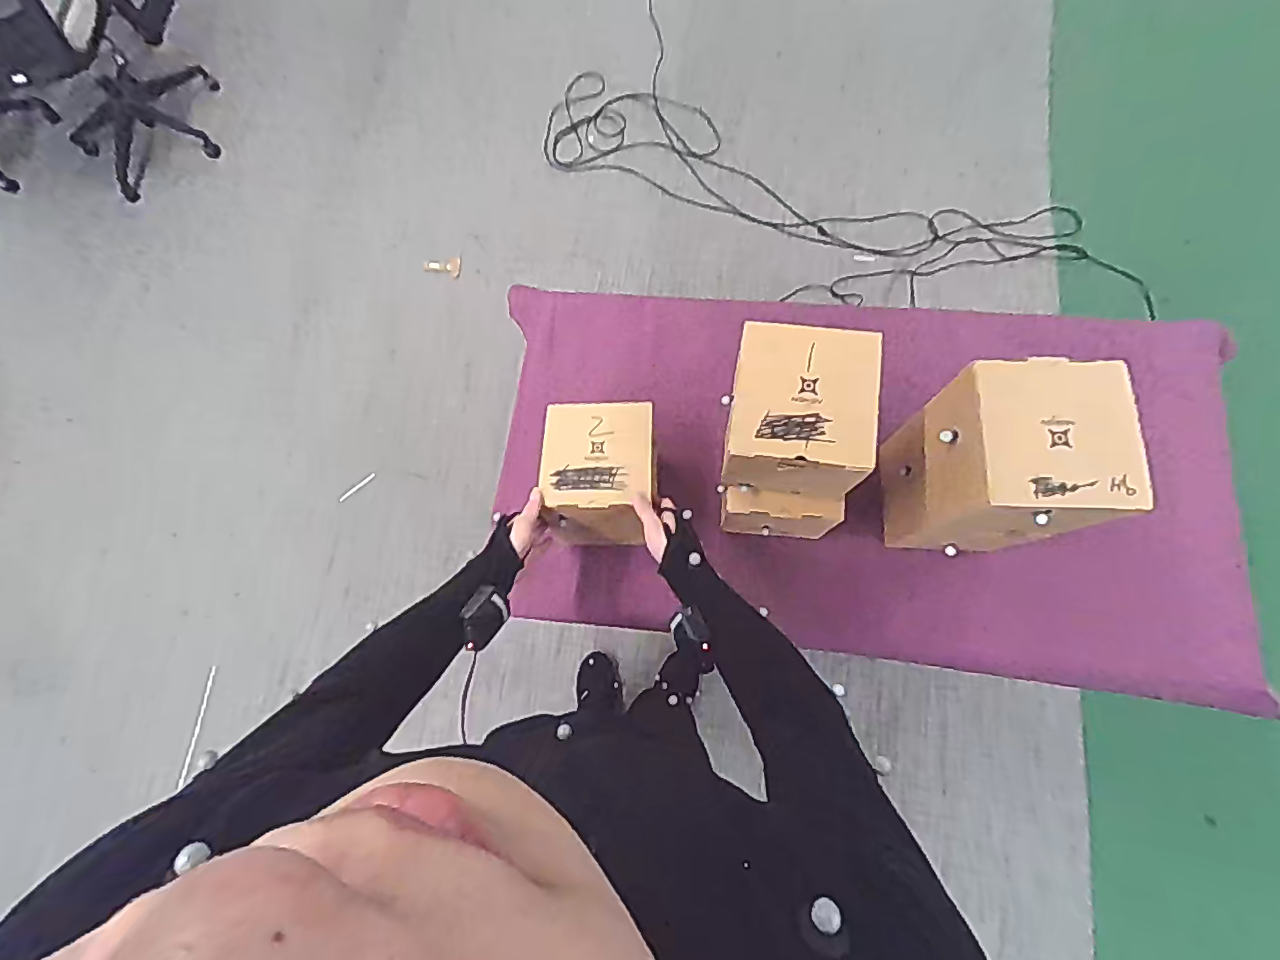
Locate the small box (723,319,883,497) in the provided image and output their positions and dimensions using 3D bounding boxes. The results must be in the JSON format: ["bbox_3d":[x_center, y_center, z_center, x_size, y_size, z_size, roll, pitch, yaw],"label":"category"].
[{"bbox_3d":[0.202,-0.084,0.709,0.168,0.176,0.179,8,76,7],"label":"small box"}]

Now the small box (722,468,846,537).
[{"bbox_3d":[0.220,-0.013,0.859,0.168,0.176,0.179,3,77,6],"label":"small box"}]

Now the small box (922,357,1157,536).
[{"bbox_3d":[0.469,-0.034,0.669,0.168,0.176,0.179,1,75,6],"label":"small box"}]

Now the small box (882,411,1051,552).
[{"bbox_3d":[0.482,0.008,0.827,0.168,0.176,0.179,2,76,6],"label":"small box"}]
